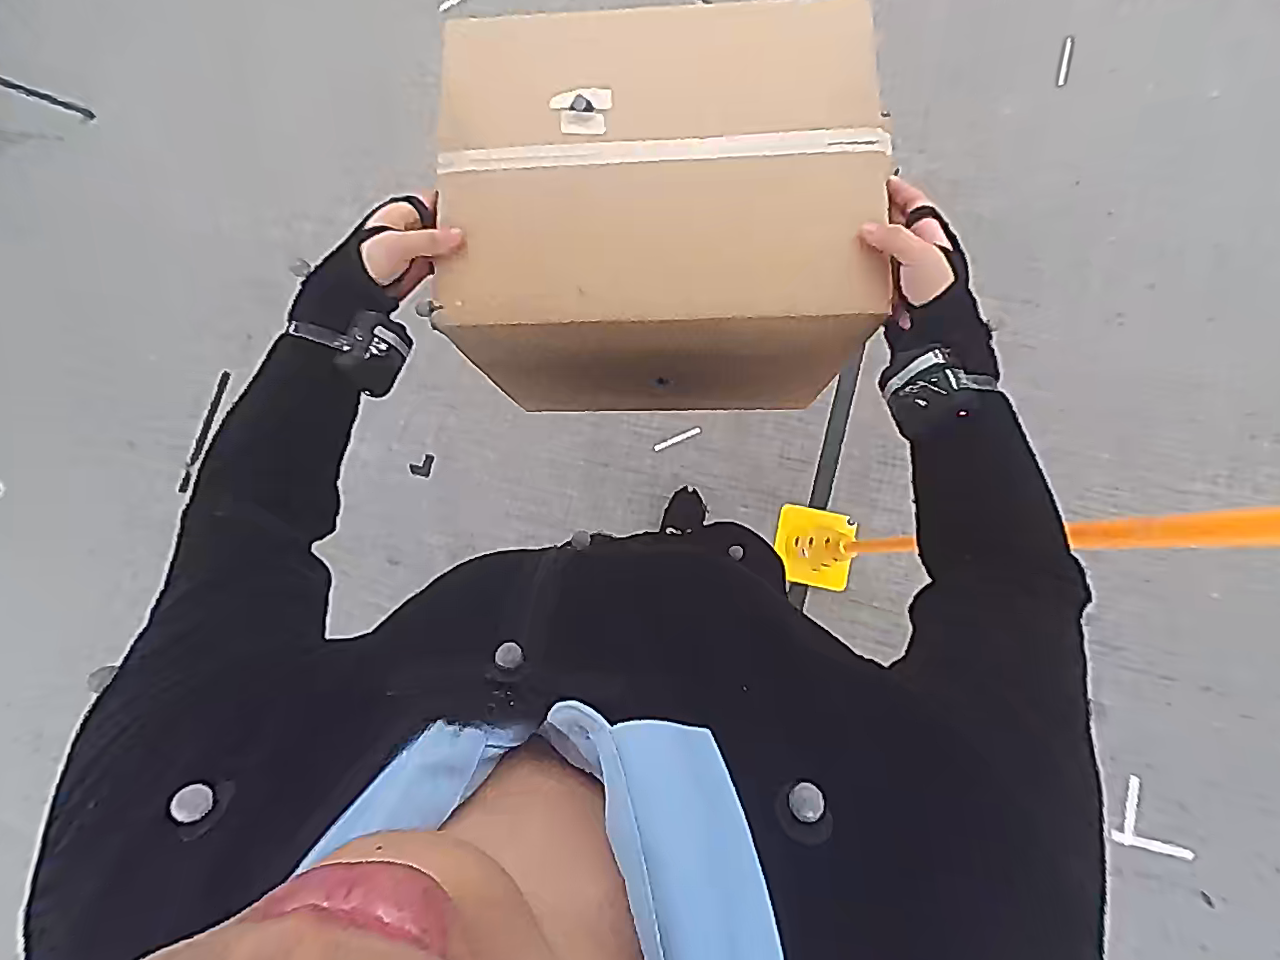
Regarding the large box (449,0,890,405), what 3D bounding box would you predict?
[{"bbox_3d":[0.033,-0.280,0.650,0.408,0.320,0.320,-1,81,5],"label":"large box"}]
